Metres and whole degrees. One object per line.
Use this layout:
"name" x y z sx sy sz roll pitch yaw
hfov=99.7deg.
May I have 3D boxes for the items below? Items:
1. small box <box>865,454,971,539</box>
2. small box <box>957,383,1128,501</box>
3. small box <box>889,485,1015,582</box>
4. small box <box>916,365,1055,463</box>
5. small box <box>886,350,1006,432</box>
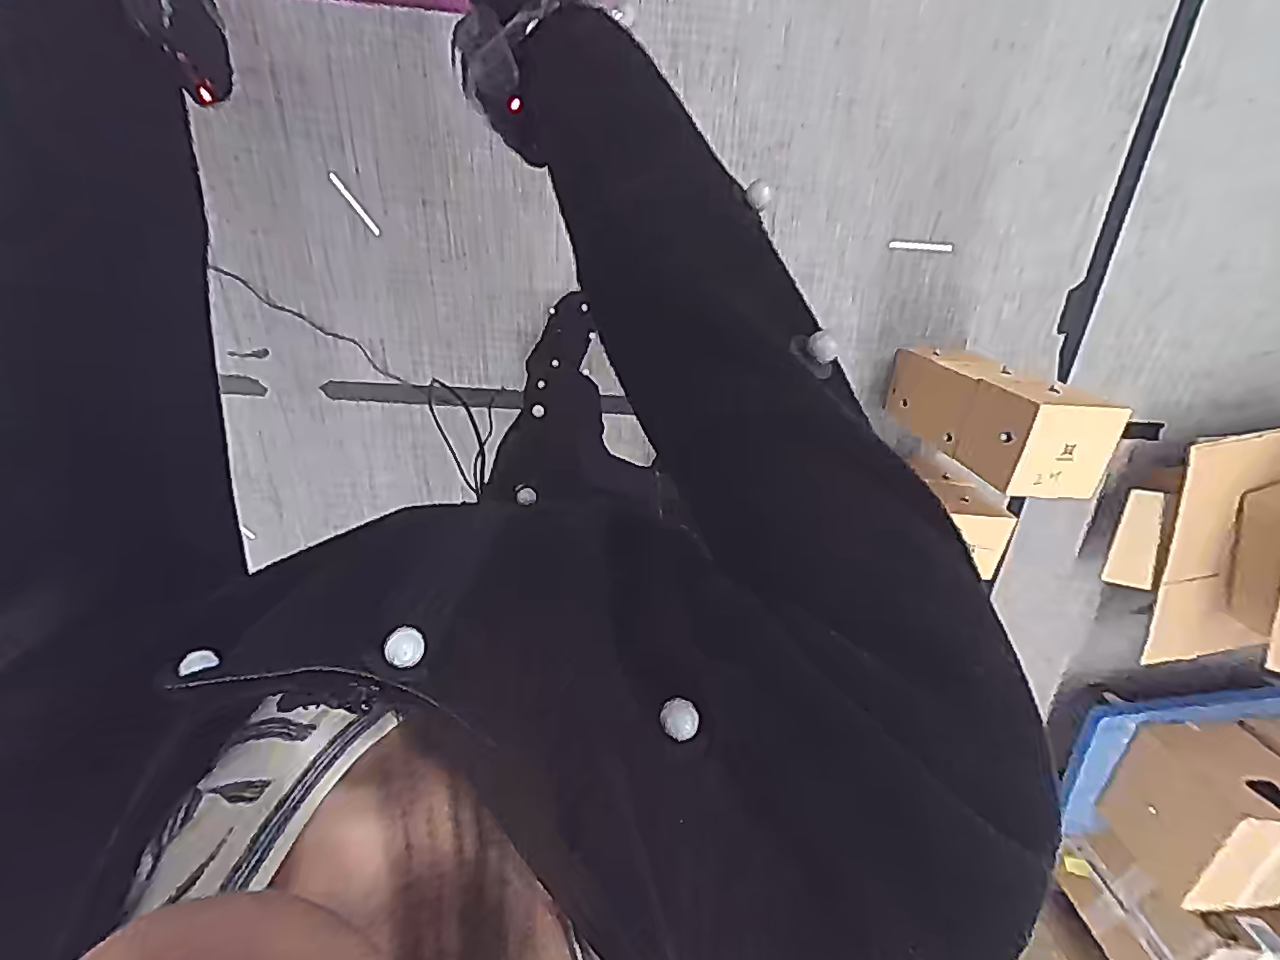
"small box" 0.724 0.051 1.434 0.168 0.176 0.179 6 115 -6
"small box" 0.739 -0.077 1.018 0.168 0.176 0.179 3 116 -4
"small box" 0.727 0.121 1.285 0.179 0.176 0.168 5 114 -6
"small box" 0.730 -0.145 1.168 0.168 0.176 0.179 2 116 -4
"small box" 0.730 -0.215 1.315 0.179 0.176 0.168 0 115 -5
